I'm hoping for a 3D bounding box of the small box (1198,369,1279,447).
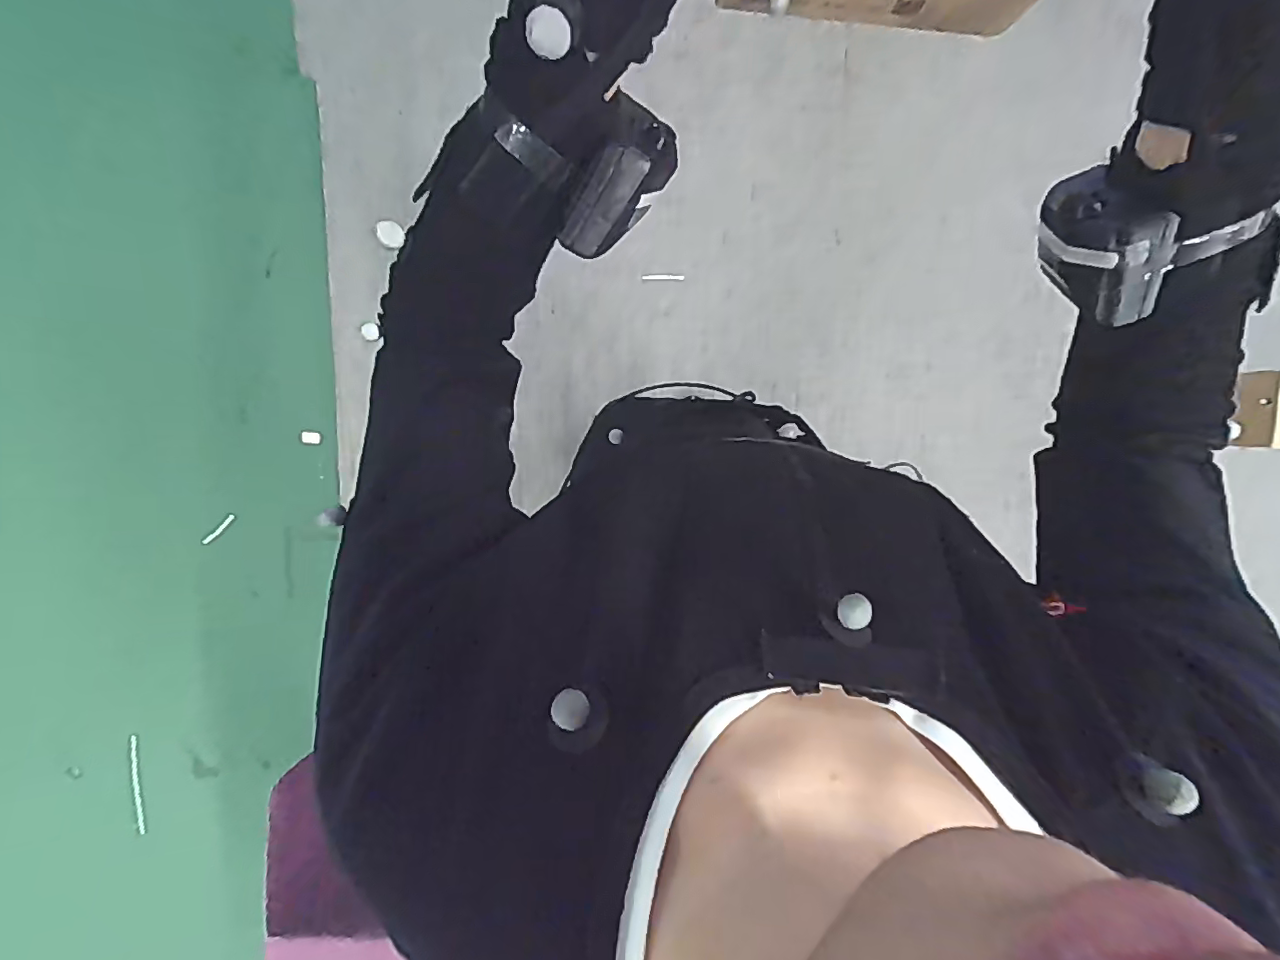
[{"bbox_3d":[1.406,-0.159,1.189,0.179,0.176,0.168,0,96,0],"label":"small box"}]

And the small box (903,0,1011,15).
[{"bbox_3d":[0.134,-0.334,0.212,0.168,0.176,0.179,8,104,1],"label":"small box"}]

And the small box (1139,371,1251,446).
[{"bbox_3d":[1.408,-0.177,1.352,0.168,0.176,0.179,0,97,1],"label":"small box"}]
